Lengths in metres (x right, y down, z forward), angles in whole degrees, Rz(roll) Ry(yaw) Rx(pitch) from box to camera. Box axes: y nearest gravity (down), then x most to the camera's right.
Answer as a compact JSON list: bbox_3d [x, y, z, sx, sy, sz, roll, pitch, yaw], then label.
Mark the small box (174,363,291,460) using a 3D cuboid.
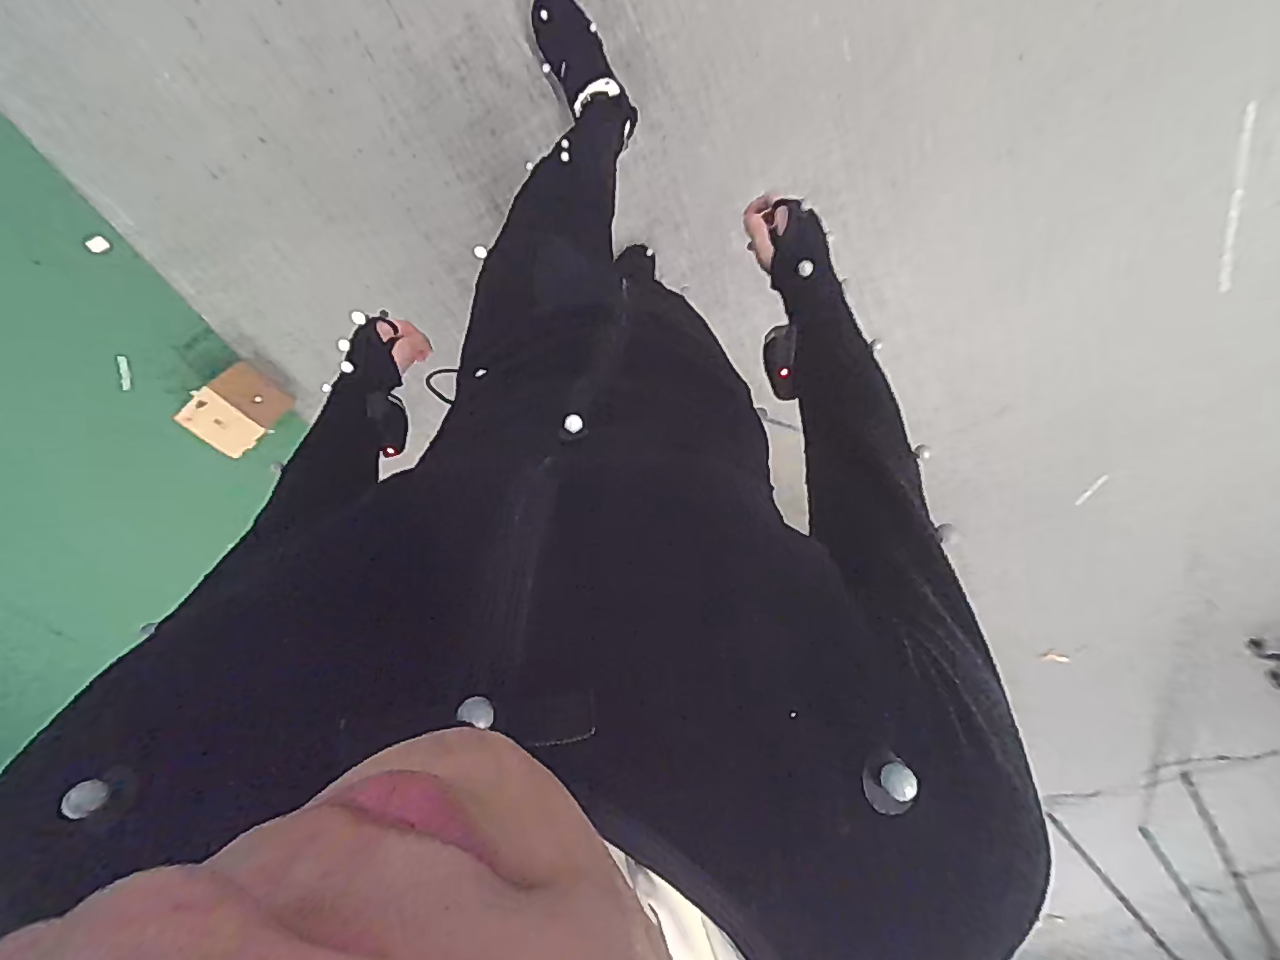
[{"bbox_3d":[-1.144,-0.197,1.535,0.168,0.176,0.179,-31,122,20],"label":"small box"}]
